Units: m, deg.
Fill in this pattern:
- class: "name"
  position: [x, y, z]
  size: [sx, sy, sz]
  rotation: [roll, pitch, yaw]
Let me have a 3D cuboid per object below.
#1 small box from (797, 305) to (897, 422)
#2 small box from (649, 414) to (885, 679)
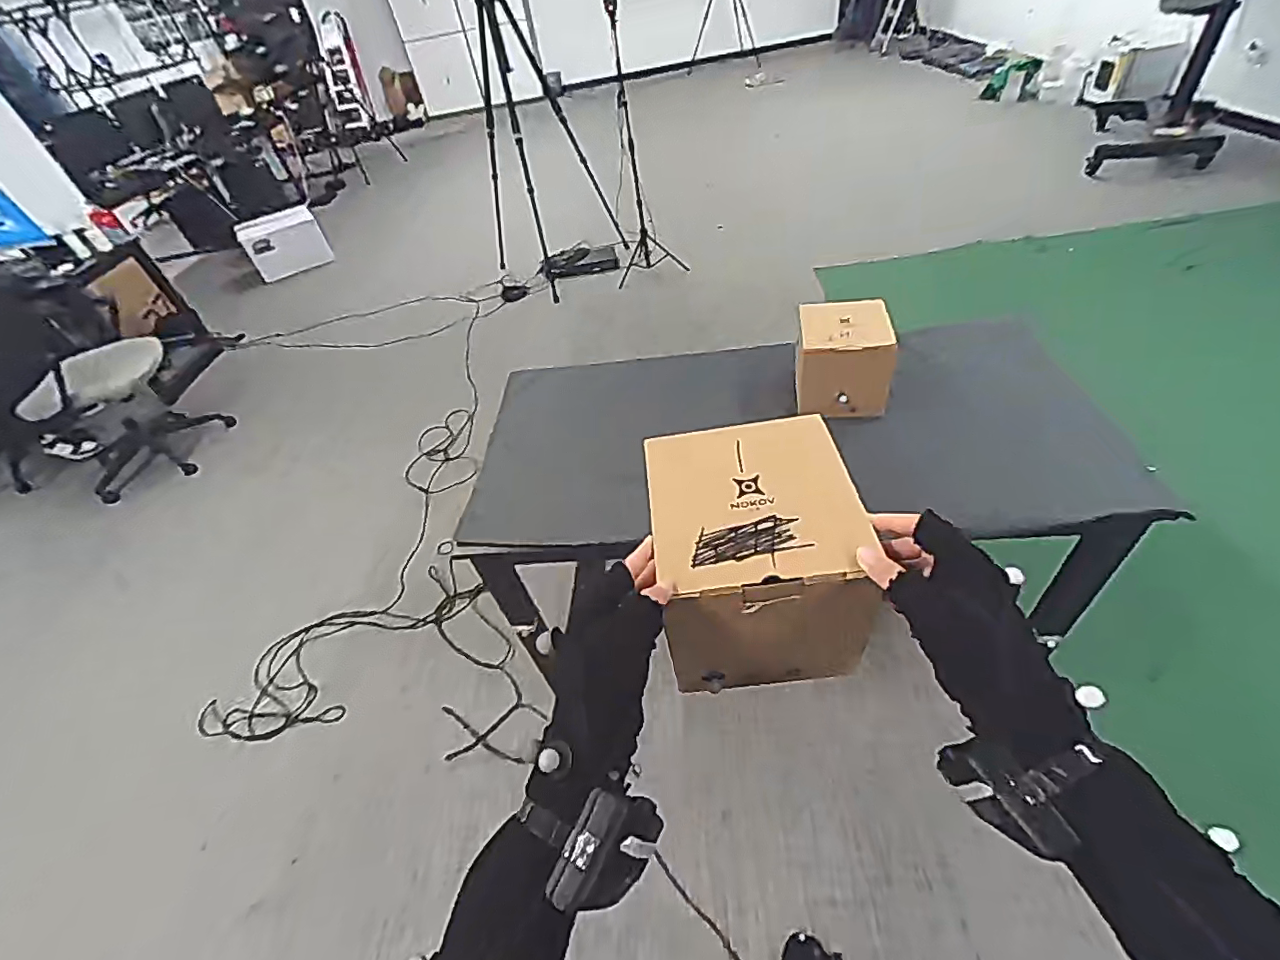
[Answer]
- class: "small box"
  position: [0.414, -0.238, 1.110]
  size: [0.168, 0.176, 0.179]
  rotation: [0, 46, 13]
- class: "small box"
  position: [0.106, 0.068, 0.502]
  size: [0.168, 0.176, 0.179]
  rotation: [-9, 44, 5]
